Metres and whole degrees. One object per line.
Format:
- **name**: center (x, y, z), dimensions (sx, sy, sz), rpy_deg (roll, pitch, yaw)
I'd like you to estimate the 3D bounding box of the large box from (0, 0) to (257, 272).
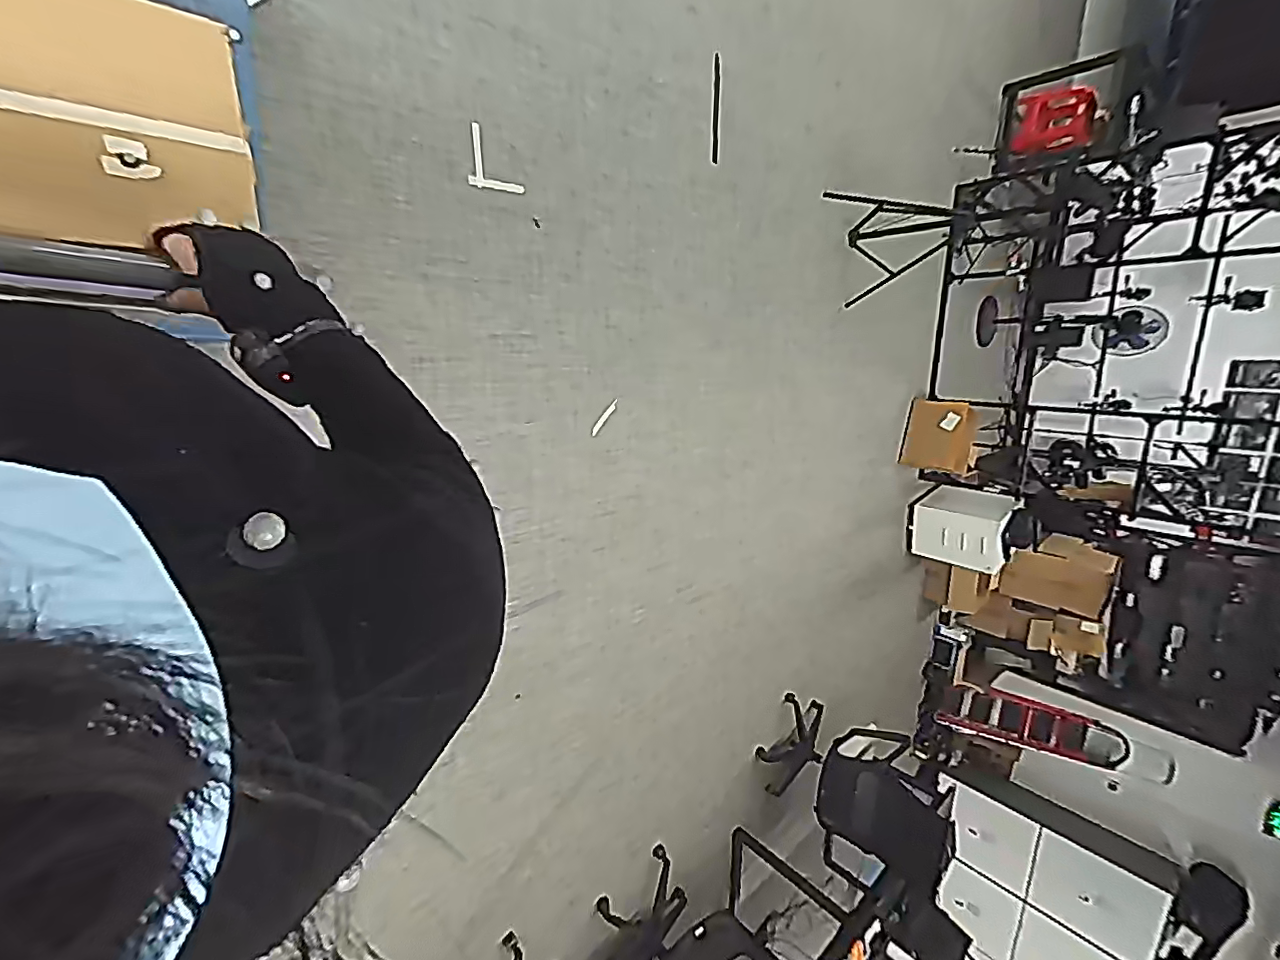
- **large box**: center (-0.843, -0.491, 0.777), dimensions (0.408, 0.320, 0.320), rpy_deg (-13, 109, -42)
